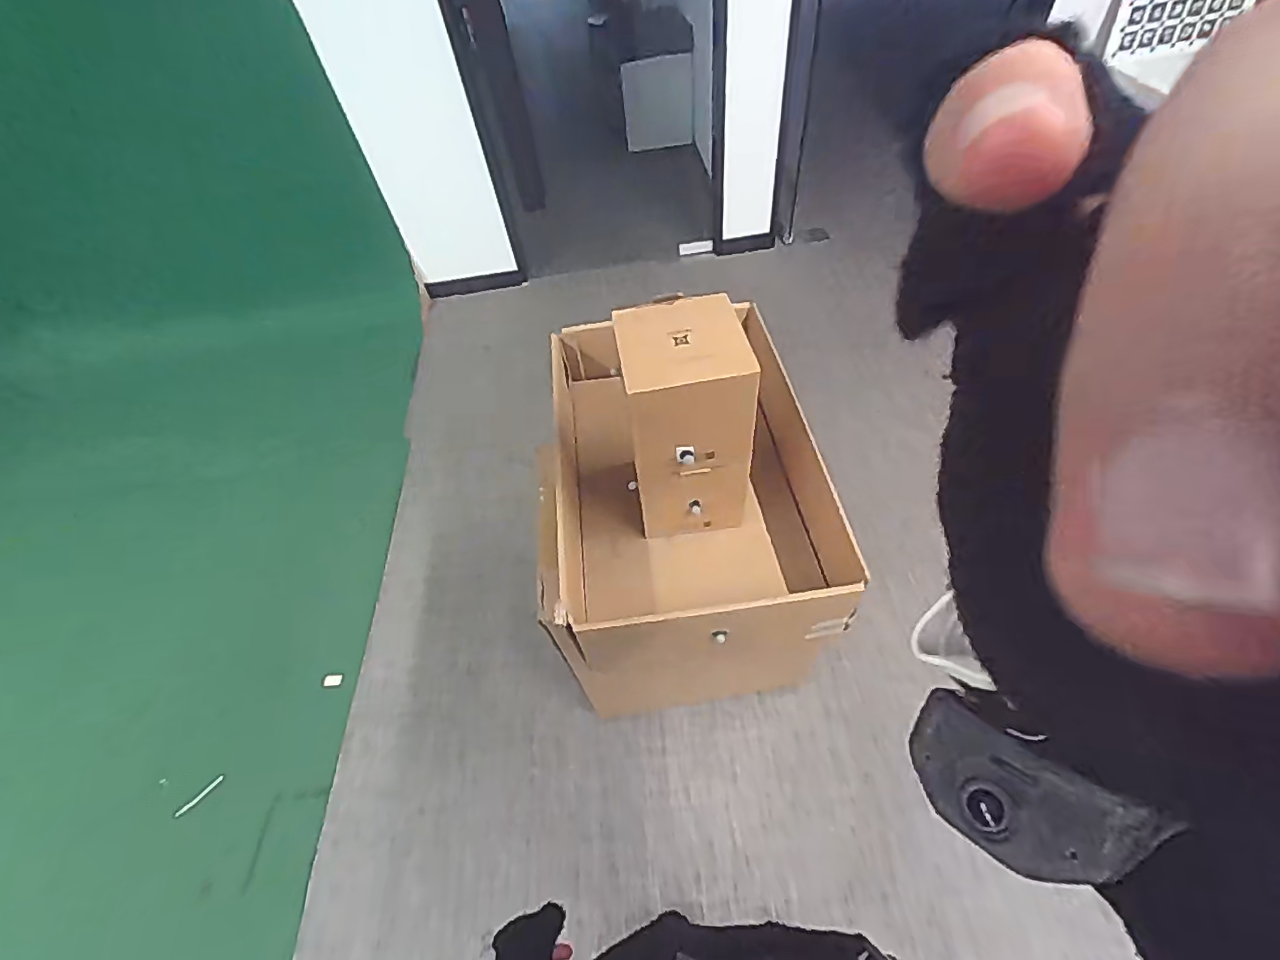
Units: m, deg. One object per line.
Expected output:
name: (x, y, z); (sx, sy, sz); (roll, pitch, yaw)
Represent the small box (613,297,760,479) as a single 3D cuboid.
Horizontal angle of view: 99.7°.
small box: (0.060, -0.128, 0.765); (0.168, 0.176, 0.179); (-11, 52, -1)
